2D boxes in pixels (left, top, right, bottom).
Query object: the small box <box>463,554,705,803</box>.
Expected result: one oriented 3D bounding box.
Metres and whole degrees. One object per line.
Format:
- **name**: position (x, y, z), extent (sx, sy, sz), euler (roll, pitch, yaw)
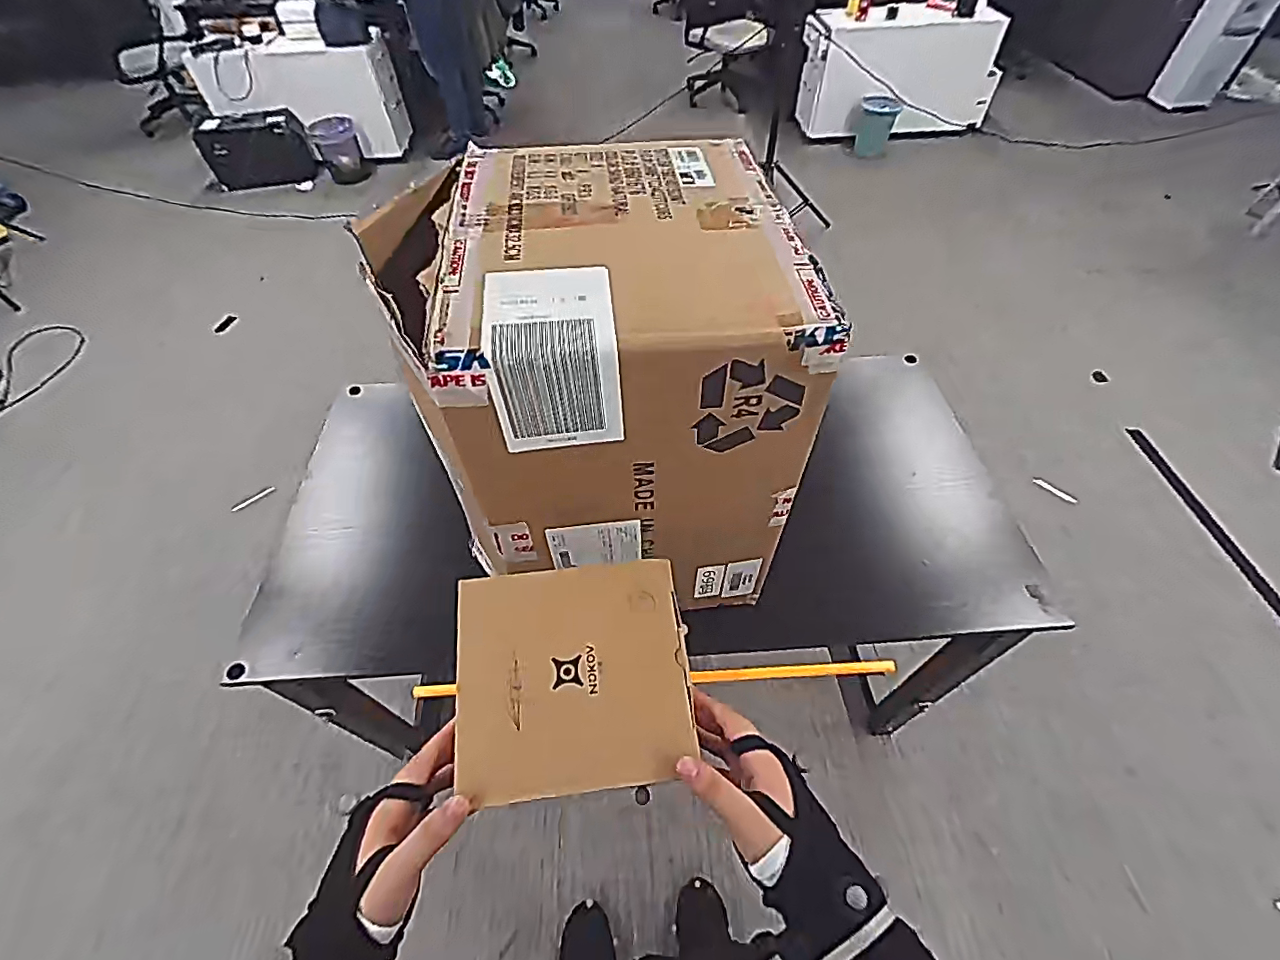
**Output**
- **small box**: position (-0.050, 0.180, 0.490), extent (0.179, 0.176, 0.168), euler (-8, 62, -4)
